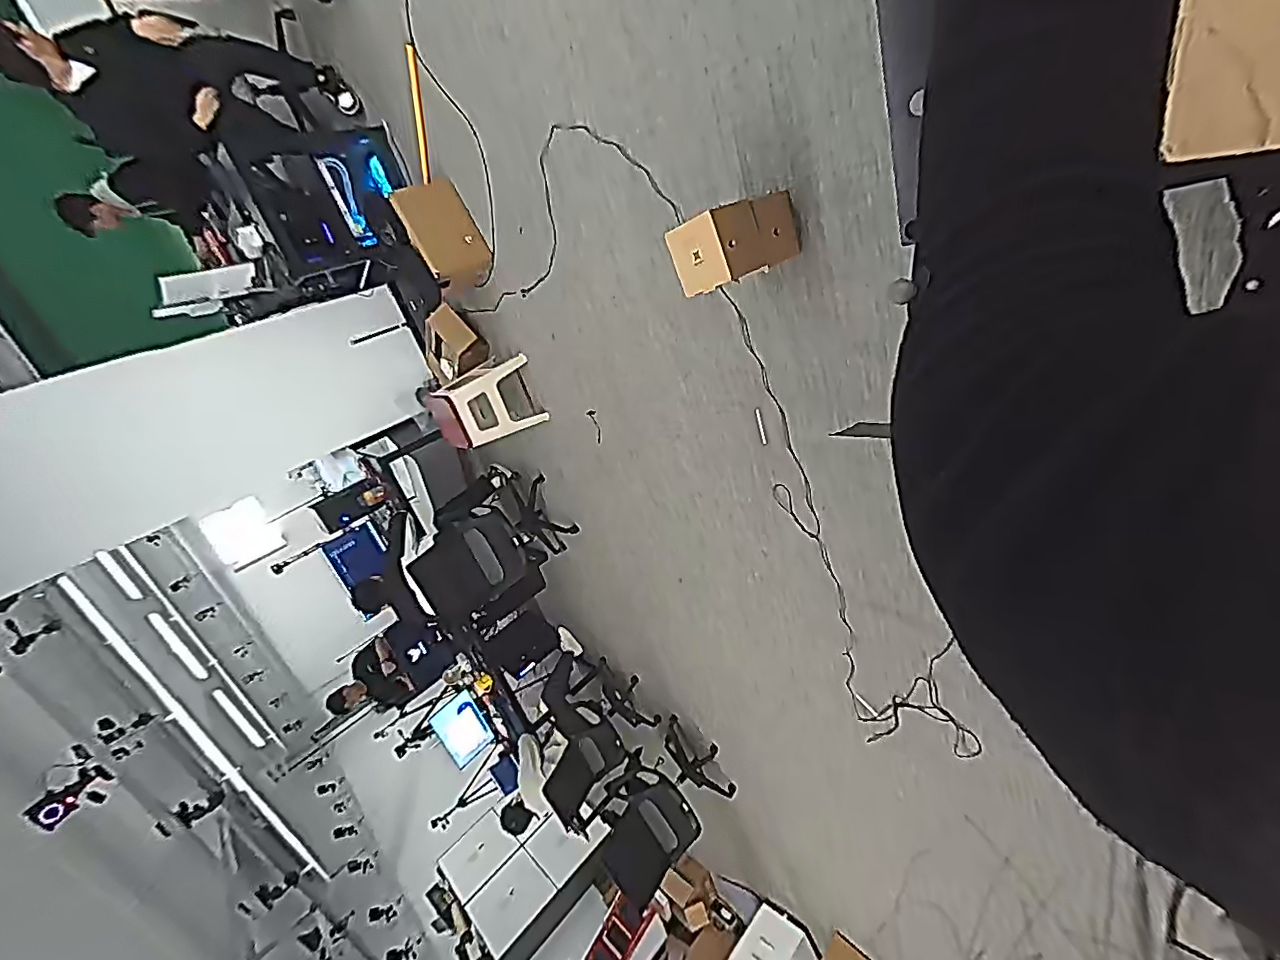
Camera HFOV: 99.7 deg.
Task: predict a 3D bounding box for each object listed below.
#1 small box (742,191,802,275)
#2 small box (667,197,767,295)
[{"bbox_3d":[0.323,-0.684,1.505,0.168,0.176,0.179,4,122,50],"label":"small box"},{"bbox_3d":[0.207,-0.612,1.415,0.168,0.176,0.179,-1,116,51],"label":"small box"}]
